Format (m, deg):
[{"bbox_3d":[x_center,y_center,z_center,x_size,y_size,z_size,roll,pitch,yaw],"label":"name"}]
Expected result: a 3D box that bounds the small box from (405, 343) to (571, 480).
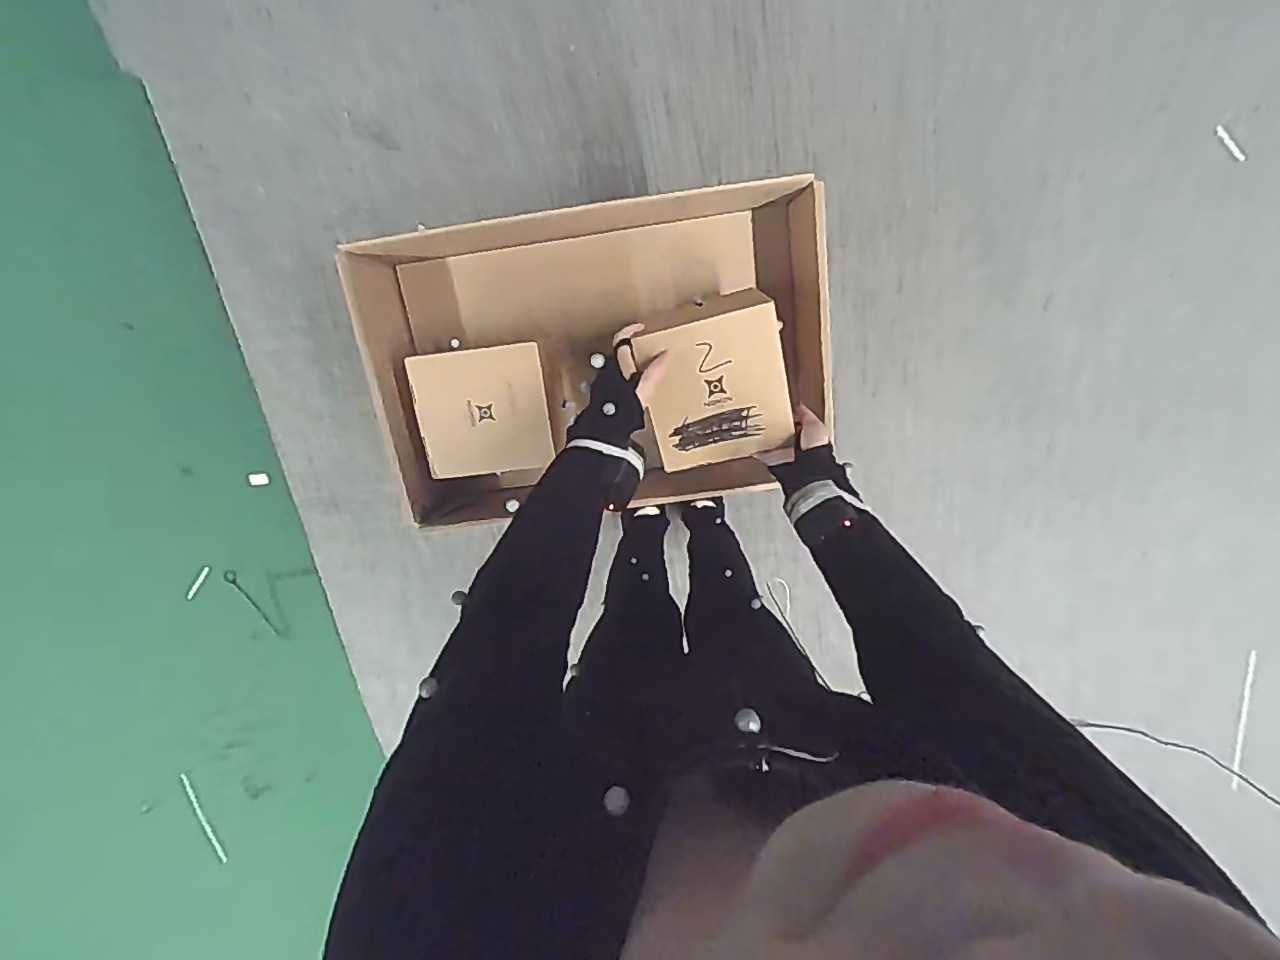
[{"bbox_3d":[-0.206,-0.105,0.783,0.179,0.176,0.168,-6,106,2],"label":"small box"}]
